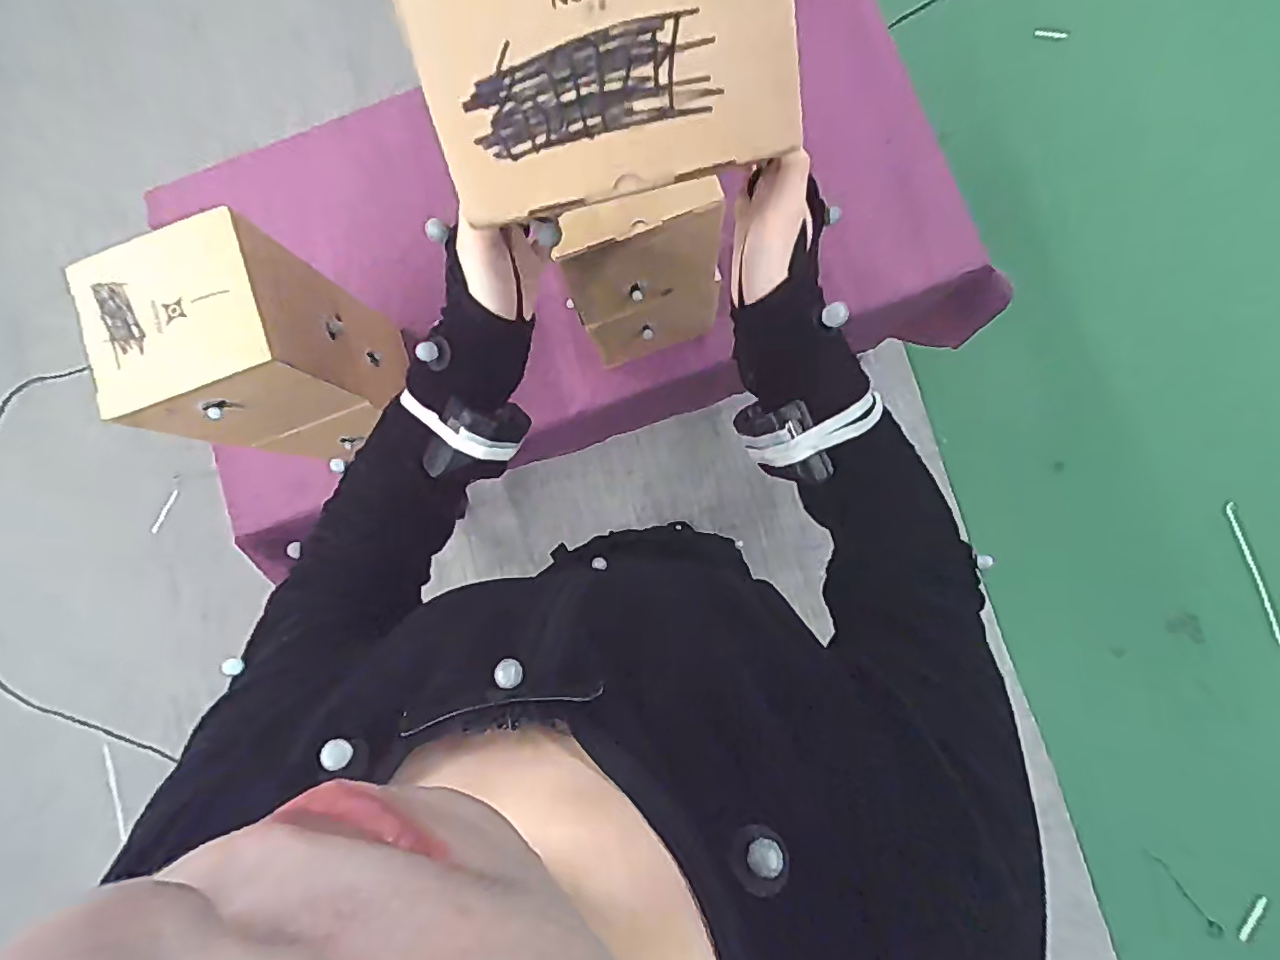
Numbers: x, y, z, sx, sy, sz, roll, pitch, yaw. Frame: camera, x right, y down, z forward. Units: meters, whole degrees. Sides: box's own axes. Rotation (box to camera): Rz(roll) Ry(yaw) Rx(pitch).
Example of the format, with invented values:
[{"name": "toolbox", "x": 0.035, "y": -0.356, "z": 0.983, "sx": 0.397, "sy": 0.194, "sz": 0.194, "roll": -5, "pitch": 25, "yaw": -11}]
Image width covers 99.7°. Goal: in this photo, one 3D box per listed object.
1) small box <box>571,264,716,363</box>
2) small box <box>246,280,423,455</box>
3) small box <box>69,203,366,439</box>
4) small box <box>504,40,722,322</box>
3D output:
[{"name": "small box", "x": -0.006, "y": -0.280, "z": 0.739, "sx": 0.179, "sy": 0.176, "sz": 0.168, "roll": -20, "pitch": 84, "yaw": 3}, {"name": "small box", "x": -0.432, "y": -0.142, "z": 0.757, "sx": 0.168, "sy": 0.176, "sz": 0.179, "roll": -19, "pitch": 84, "yaw": 1}, {"name": "small box", "x": -0.444, "y": -0.156, "z": 0.593, "sx": 0.179, "sy": 0.176, "sz": 0.168, "roll": -19, "pitch": 84, "yaw": 1}, {"name": "small box", "x": -0.023, "y": -0.300, "z": 0.578, "sx": 0.168, "sy": 0.176, "sz": 0.179, "roll": -18, "pitch": 84, "yaw": 2}]
